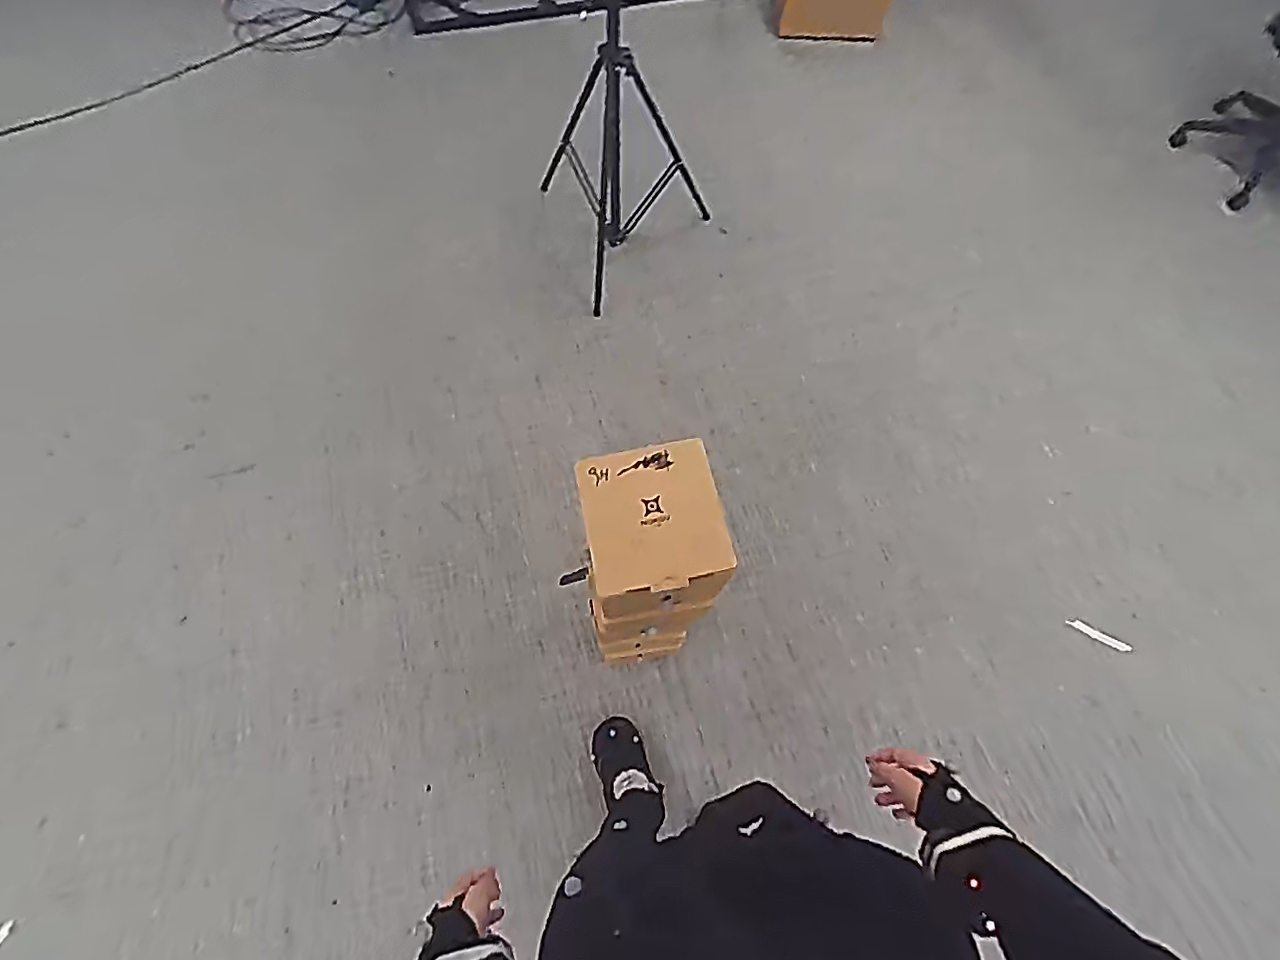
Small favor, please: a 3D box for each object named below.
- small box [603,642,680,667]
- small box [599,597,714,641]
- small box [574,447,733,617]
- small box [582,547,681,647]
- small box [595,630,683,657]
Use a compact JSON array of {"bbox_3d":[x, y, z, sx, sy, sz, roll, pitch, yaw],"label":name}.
[{"bbox_3d":[-0.011,0.355,1.315,0.179,0.176,0.168,-9,68,-5],"label":"small box"},{"bbox_3d":[0.010,0.150,0.869,0.168,0.176,0.179,-9,69,-4],"label":"small box"},{"bbox_3d":[0.013,0.079,0.721,0.168,0.176,0.179,-11,69,-6],"label":"small box"},{"bbox_3d":[-0.007,0.213,1.020,0.179,0.176,0.168,-8,69,-6],"label":"small box"},{"bbox_3d":[-0.009,0.283,1.167,0.179,0.176,0.168,-6,68,-4],"label":"small box"}]
